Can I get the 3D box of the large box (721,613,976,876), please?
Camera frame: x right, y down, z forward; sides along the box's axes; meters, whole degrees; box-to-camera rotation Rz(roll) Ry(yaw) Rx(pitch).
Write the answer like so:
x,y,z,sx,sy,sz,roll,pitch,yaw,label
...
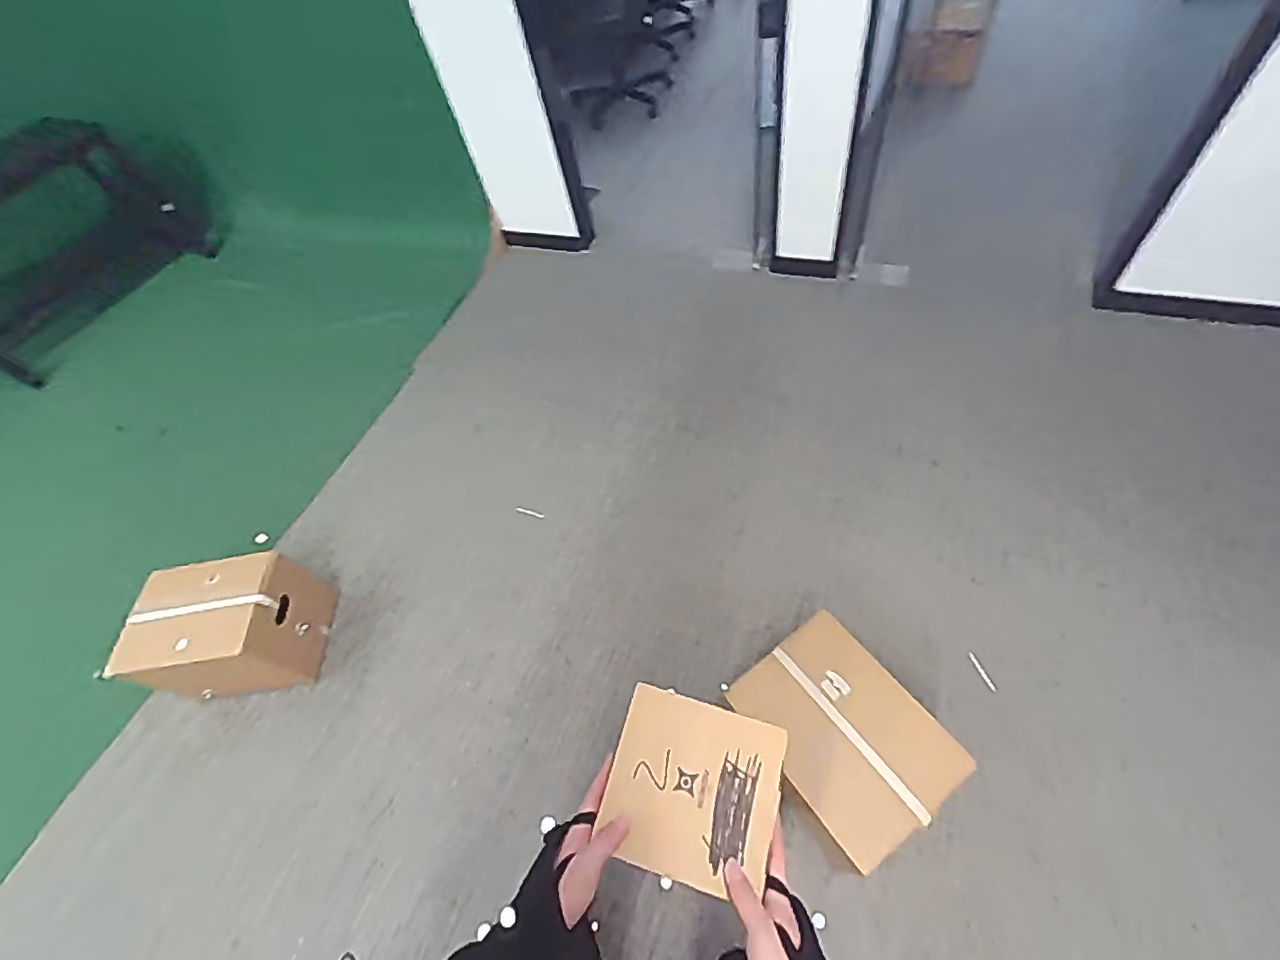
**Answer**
x,y,z,sx,sy,sz,roll,pitch,yaw,label
0.438,0.591,1.226,0.320,0.320,0.408,-34,56,-13,large box
